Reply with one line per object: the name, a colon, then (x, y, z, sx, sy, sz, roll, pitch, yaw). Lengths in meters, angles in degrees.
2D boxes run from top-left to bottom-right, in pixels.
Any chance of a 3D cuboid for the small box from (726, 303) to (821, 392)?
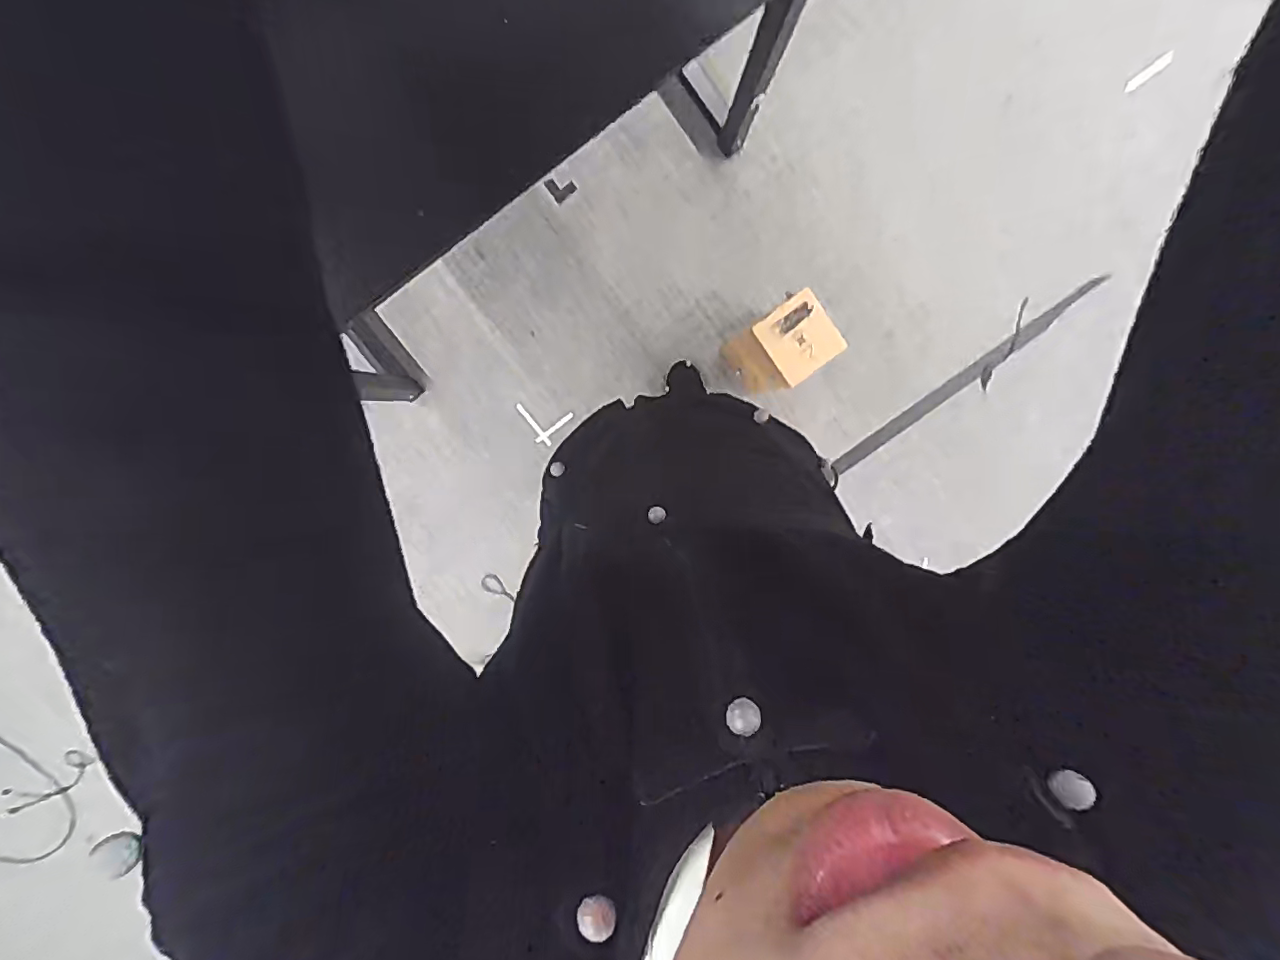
small box: (0.363, -0.361, 1.506, 0.179, 0.176, 0.168, -39, 97, 4)
